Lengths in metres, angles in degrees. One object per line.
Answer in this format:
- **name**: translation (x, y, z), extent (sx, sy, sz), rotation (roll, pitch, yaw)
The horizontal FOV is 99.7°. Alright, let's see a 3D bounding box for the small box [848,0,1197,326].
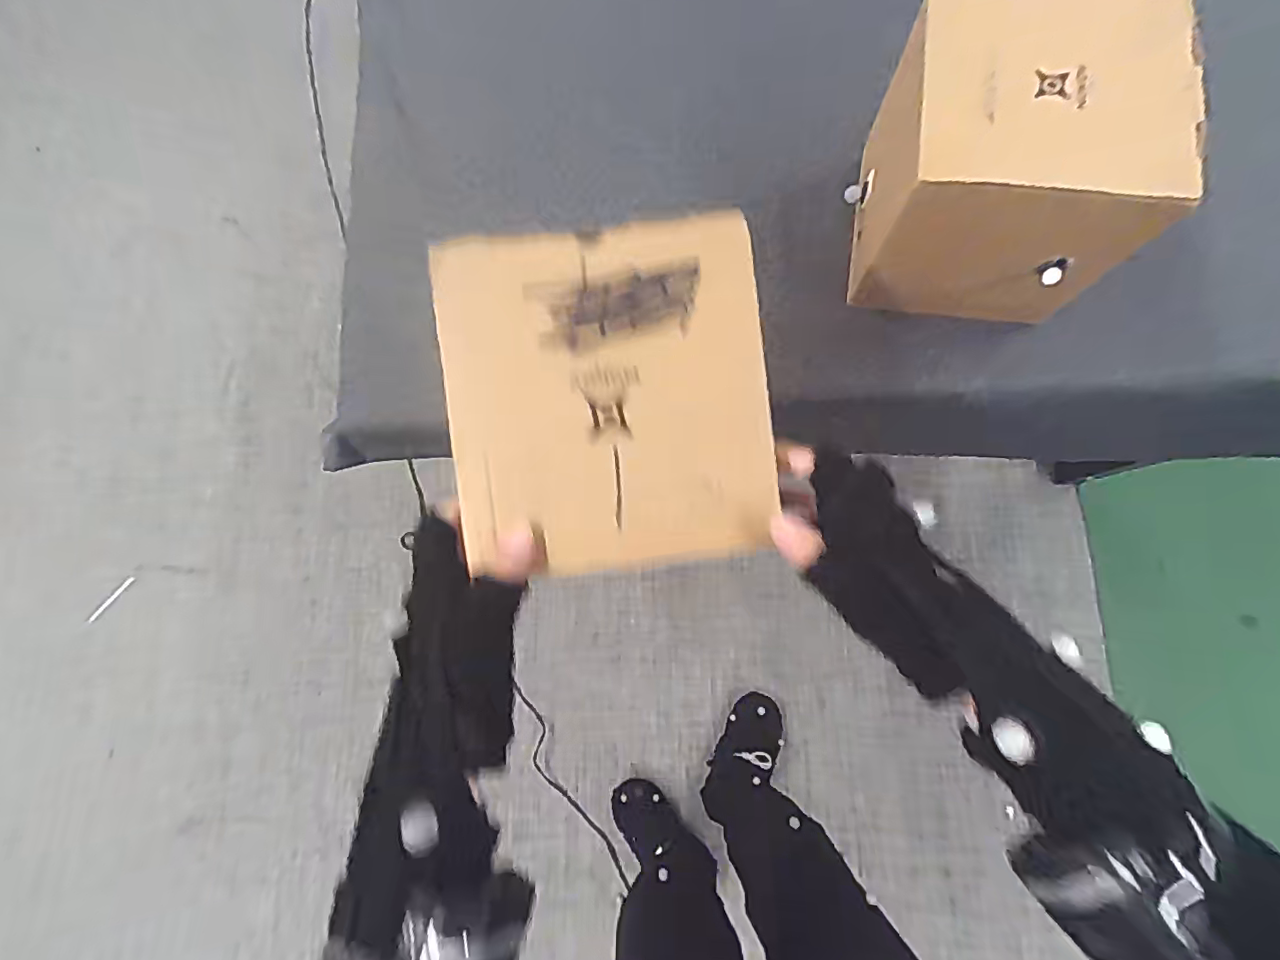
- **small box**: translation (0.292, -0.244, 0.451), extent (0.179, 0.176, 0.168), rotation (7, 78, 7)
